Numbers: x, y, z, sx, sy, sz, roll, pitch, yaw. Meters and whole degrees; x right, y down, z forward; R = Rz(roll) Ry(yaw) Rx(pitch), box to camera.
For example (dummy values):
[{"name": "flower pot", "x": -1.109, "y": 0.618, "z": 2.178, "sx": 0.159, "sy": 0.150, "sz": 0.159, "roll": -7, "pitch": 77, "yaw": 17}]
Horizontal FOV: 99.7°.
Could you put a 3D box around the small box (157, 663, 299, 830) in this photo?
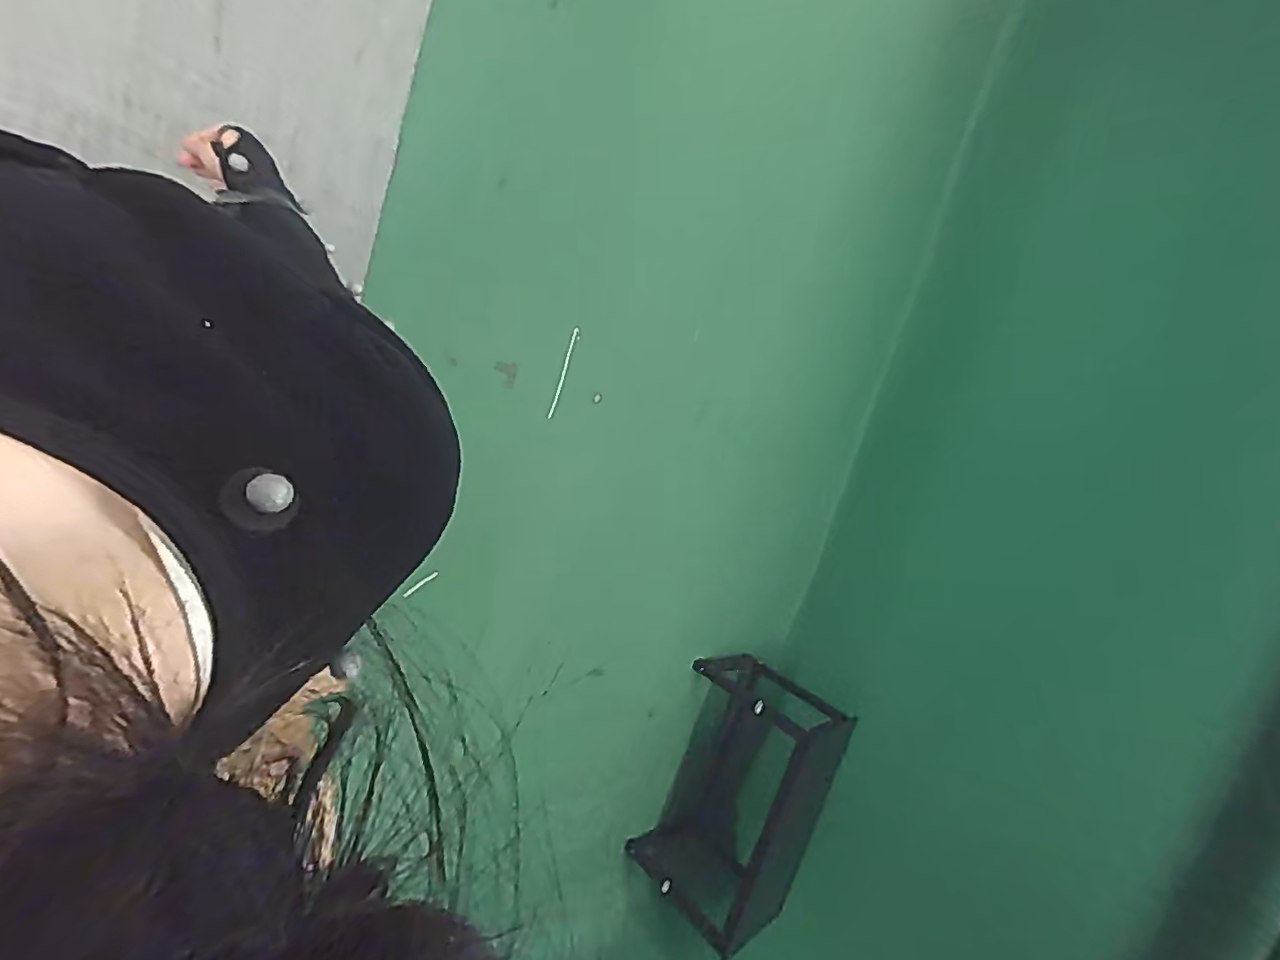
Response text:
[{"name": "small box", "x": -0.692, "y": 0.445, "z": 0.915, "sx": 0.179, "sy": 0.176, "sz": 0.168, "roll": -10, "pitch": 114, "yaw": -43}]

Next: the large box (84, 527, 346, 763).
[{"name": "large box", "x": -0.940, "y": 0.330, "z": 1.221, "sx": 0.408, "sy": 0.320, "sz": 0.320, "roll": -10, "pitch": 115, "yaw": -44}]

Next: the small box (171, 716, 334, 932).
[{"name": "small box", "x": -0.578, "y": 0.494, "z": 0.807, "sx": 0.179, "sy": 0.176, "sz": 0.168, "roll": -9, "pitch": 113, "yaw": -42}]

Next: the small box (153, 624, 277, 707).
[{"name": "small box", "x": -0.801, "y": 0.394, "z": 1.025, "sx": 0.168, "sy": 0.176, "sz": 0.179, "roll": -9, "pitch": 113, "yaw": -43}]
